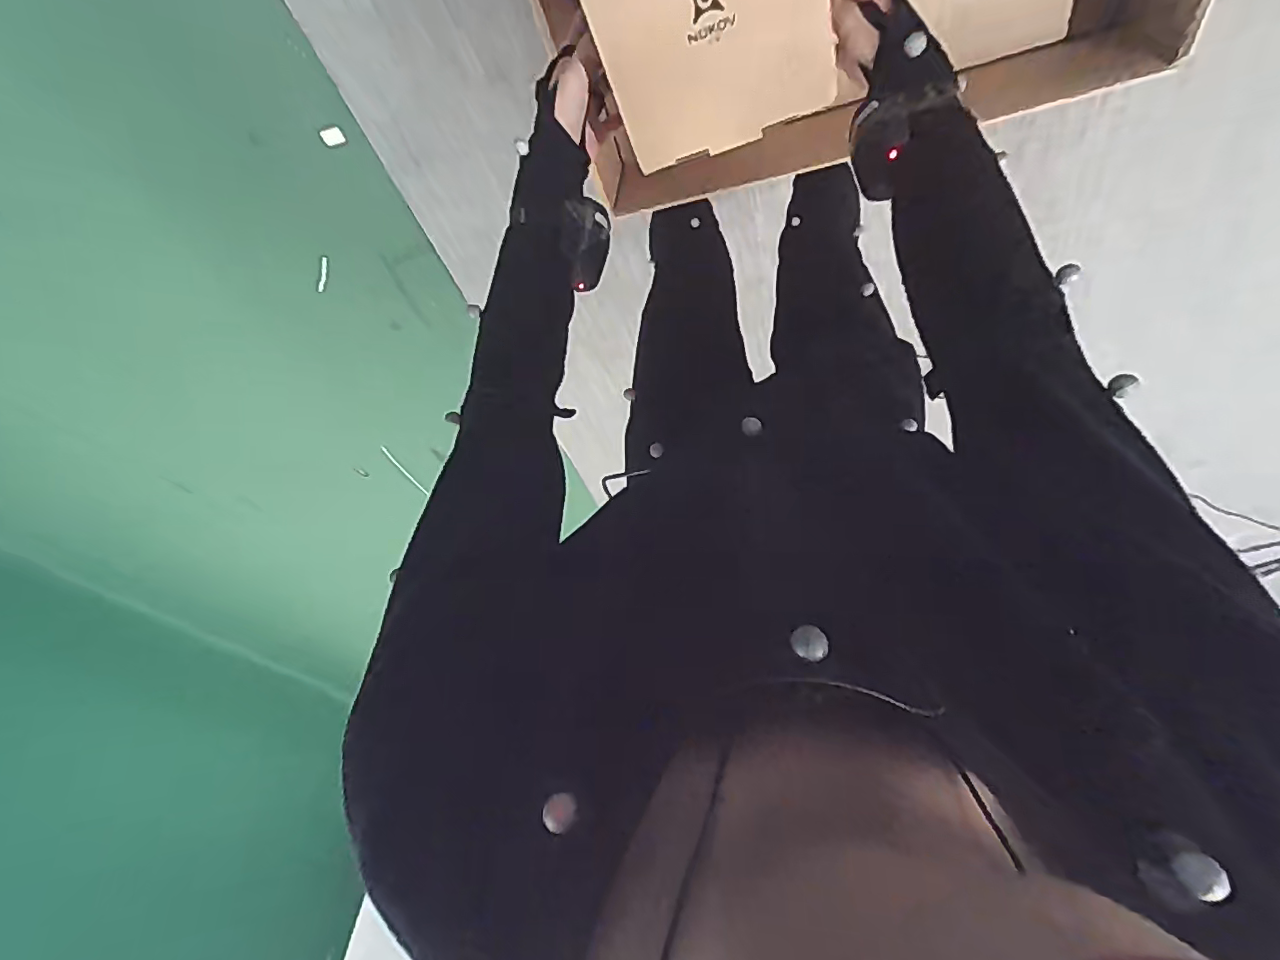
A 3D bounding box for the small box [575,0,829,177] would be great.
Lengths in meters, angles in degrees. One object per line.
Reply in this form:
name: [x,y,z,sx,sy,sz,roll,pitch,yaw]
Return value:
small box: [0.051,-0.390,0.434,0.168,0.176,0.179,-10,140,19]
